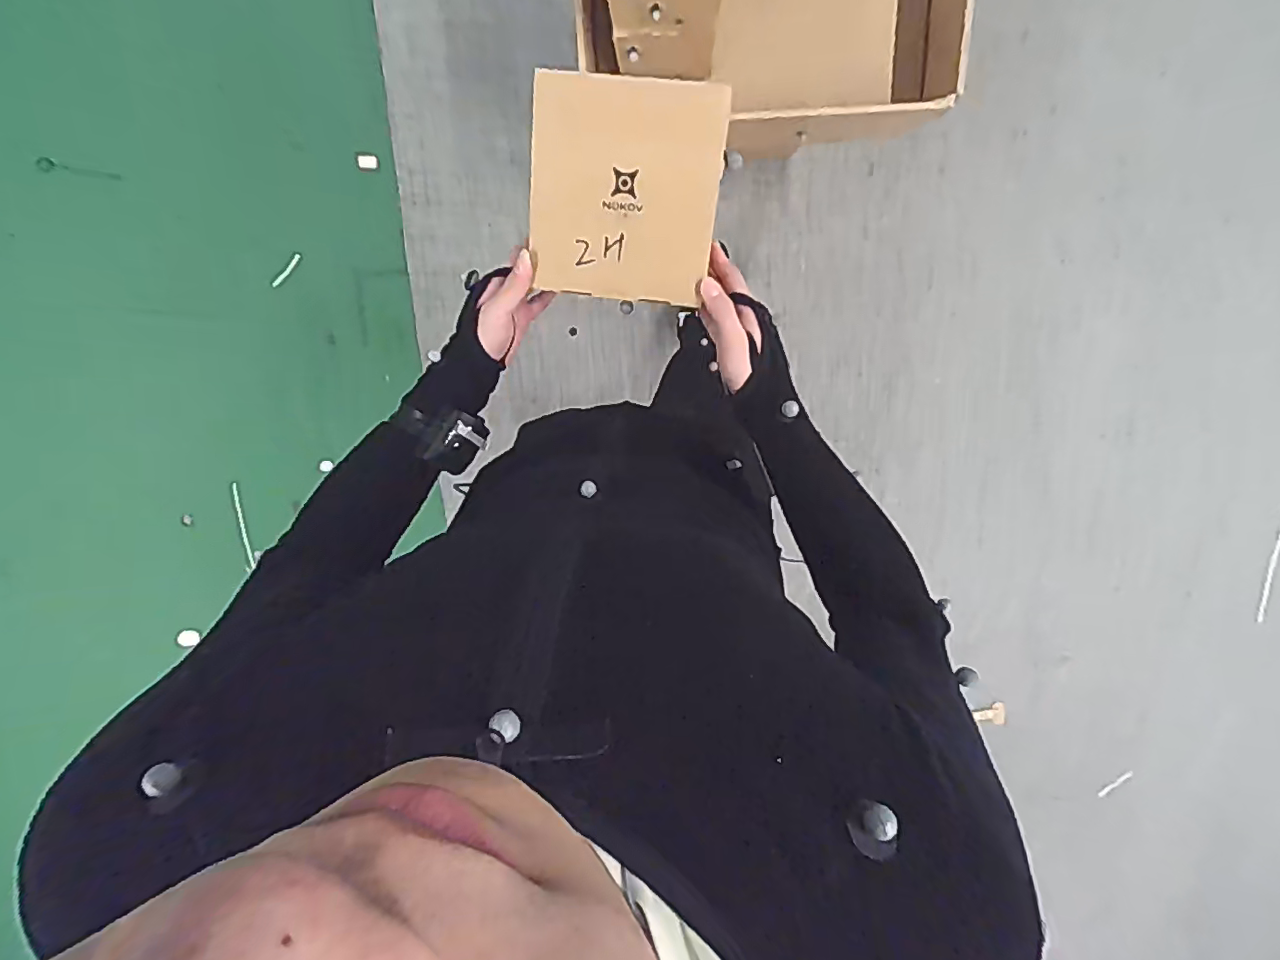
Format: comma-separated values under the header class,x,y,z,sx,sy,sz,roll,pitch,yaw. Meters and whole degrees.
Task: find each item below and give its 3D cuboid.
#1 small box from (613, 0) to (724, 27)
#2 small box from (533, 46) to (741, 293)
class,x,y,z,sx,sy,sz,roll,pitch,yaw
small box,0.039,-0.756,0.724,0.168,0.176,0.179,1,105,2
small box,-0.002,-0.288,0.540,0.168,0.176,0.179,8,110,3
